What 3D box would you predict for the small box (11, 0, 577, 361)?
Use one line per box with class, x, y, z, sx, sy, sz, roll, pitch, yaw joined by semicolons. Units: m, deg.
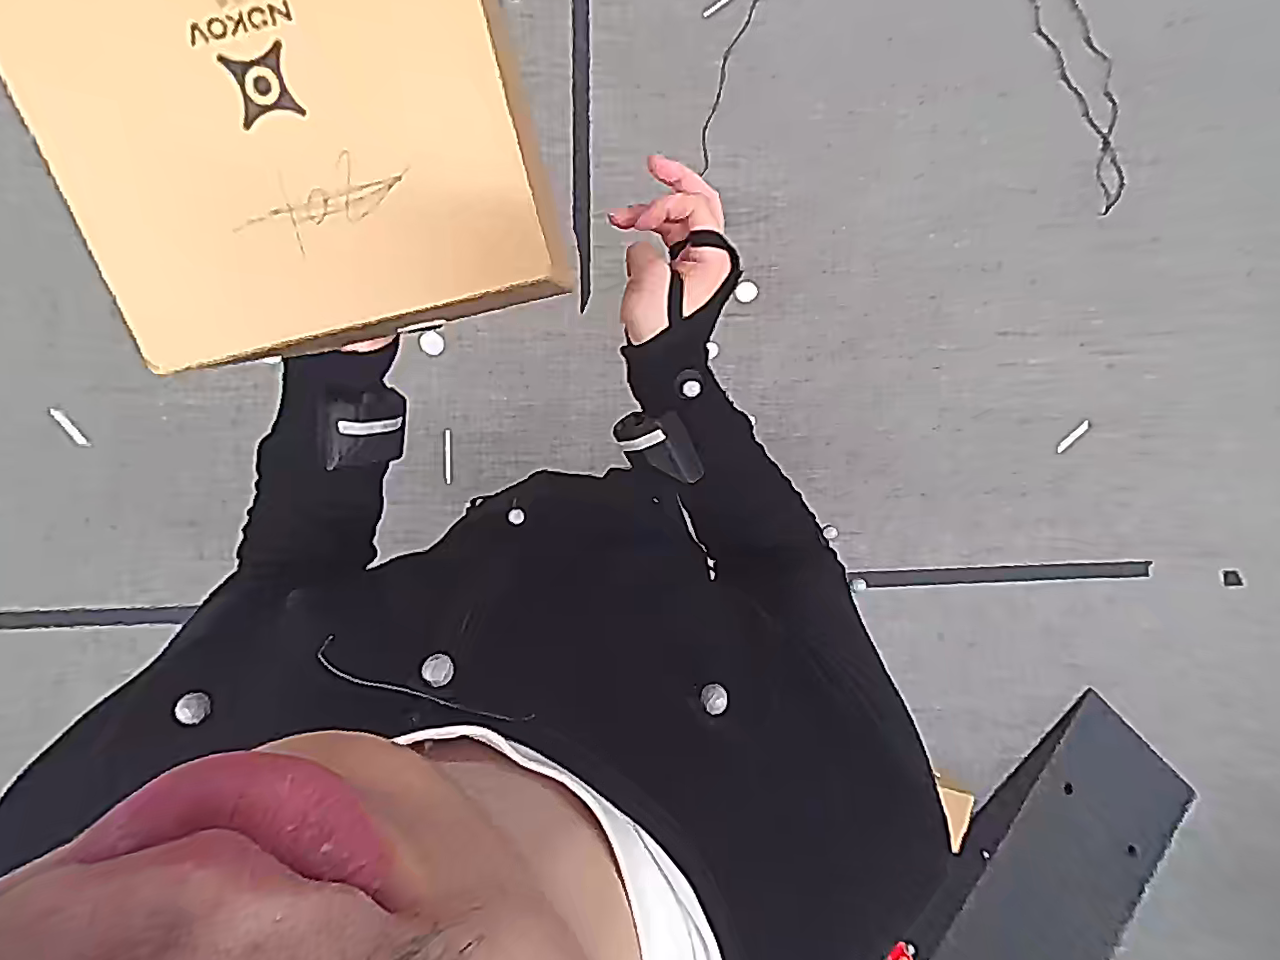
small box;-0.134;-0.170;0.277;0.168;0.176;0.179;-14;108;1
